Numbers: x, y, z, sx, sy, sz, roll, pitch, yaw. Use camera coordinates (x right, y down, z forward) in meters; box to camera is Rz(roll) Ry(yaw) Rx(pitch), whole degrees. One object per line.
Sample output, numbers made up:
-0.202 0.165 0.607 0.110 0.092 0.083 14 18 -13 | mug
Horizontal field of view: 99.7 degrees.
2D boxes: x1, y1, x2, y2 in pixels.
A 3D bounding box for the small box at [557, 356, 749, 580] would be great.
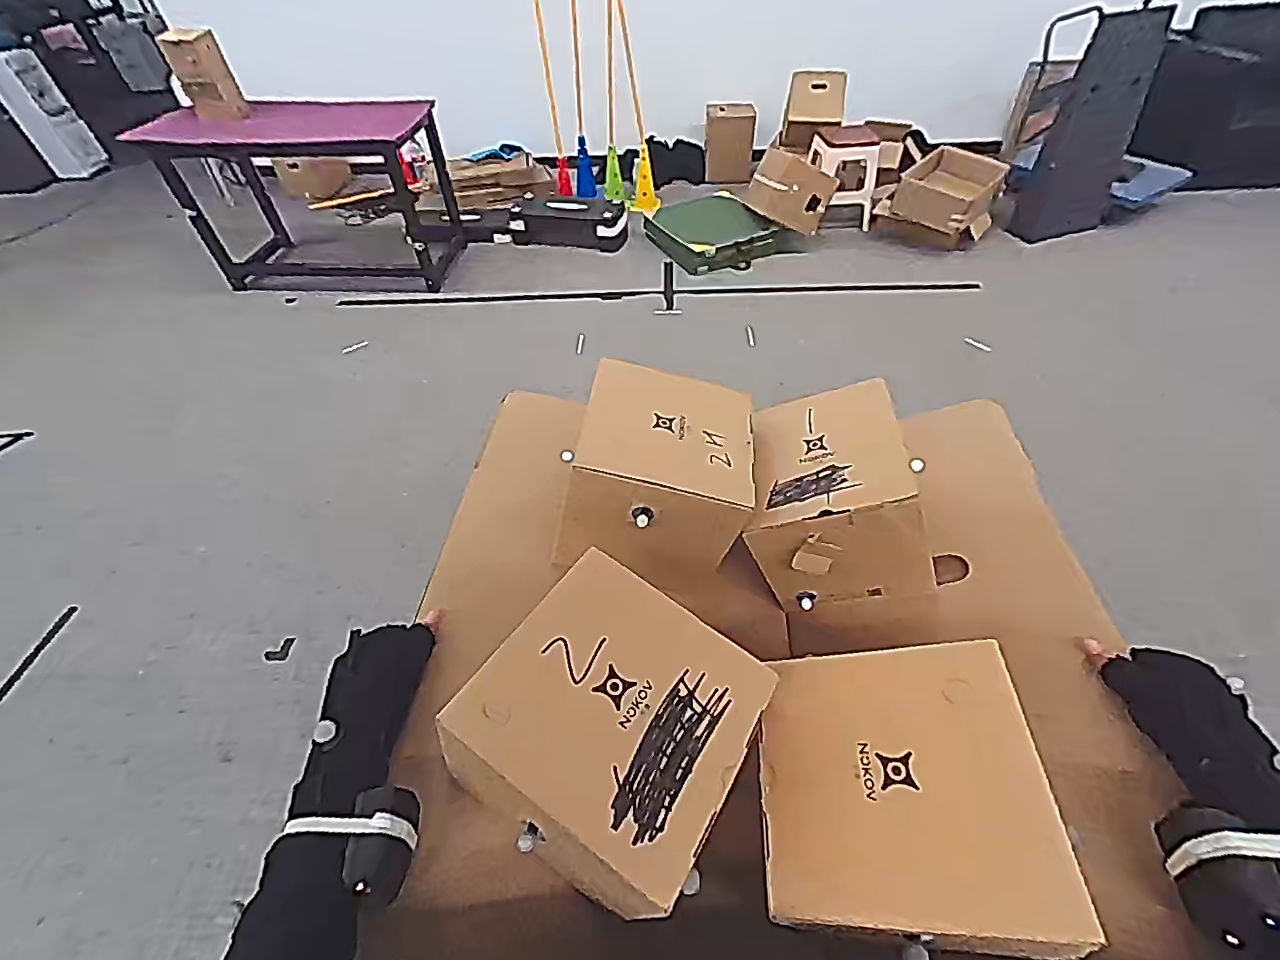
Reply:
0.011 -0.008 0.610 0.179 0.176 0.168 14 49 -5 | small box
